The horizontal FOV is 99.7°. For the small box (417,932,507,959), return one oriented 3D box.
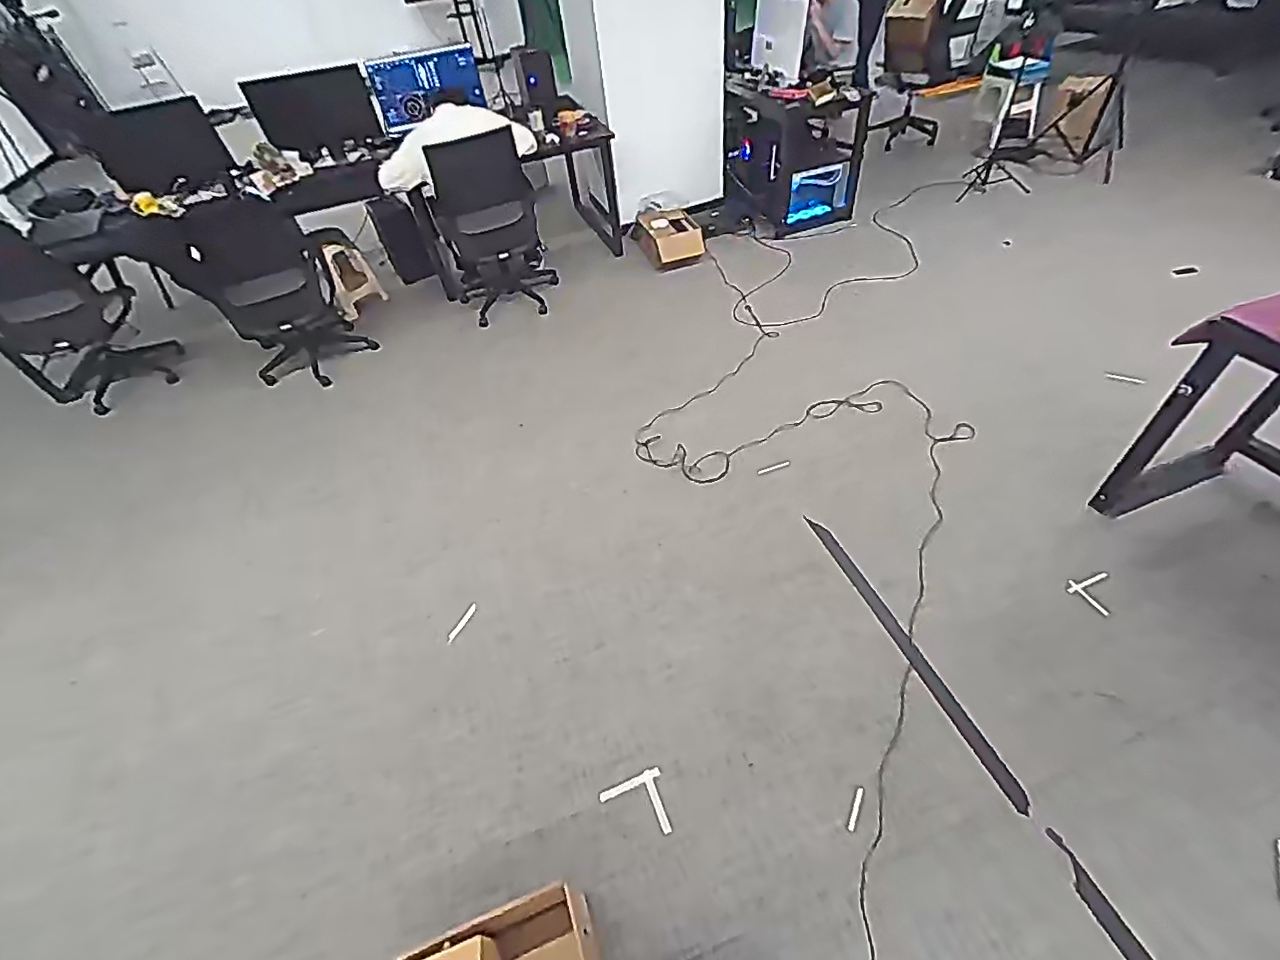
[{"bbox_3d":[-0.375,1.076,1.117,0.179,0.176,0.168,-17,48,-11],"label":"small box"}]
